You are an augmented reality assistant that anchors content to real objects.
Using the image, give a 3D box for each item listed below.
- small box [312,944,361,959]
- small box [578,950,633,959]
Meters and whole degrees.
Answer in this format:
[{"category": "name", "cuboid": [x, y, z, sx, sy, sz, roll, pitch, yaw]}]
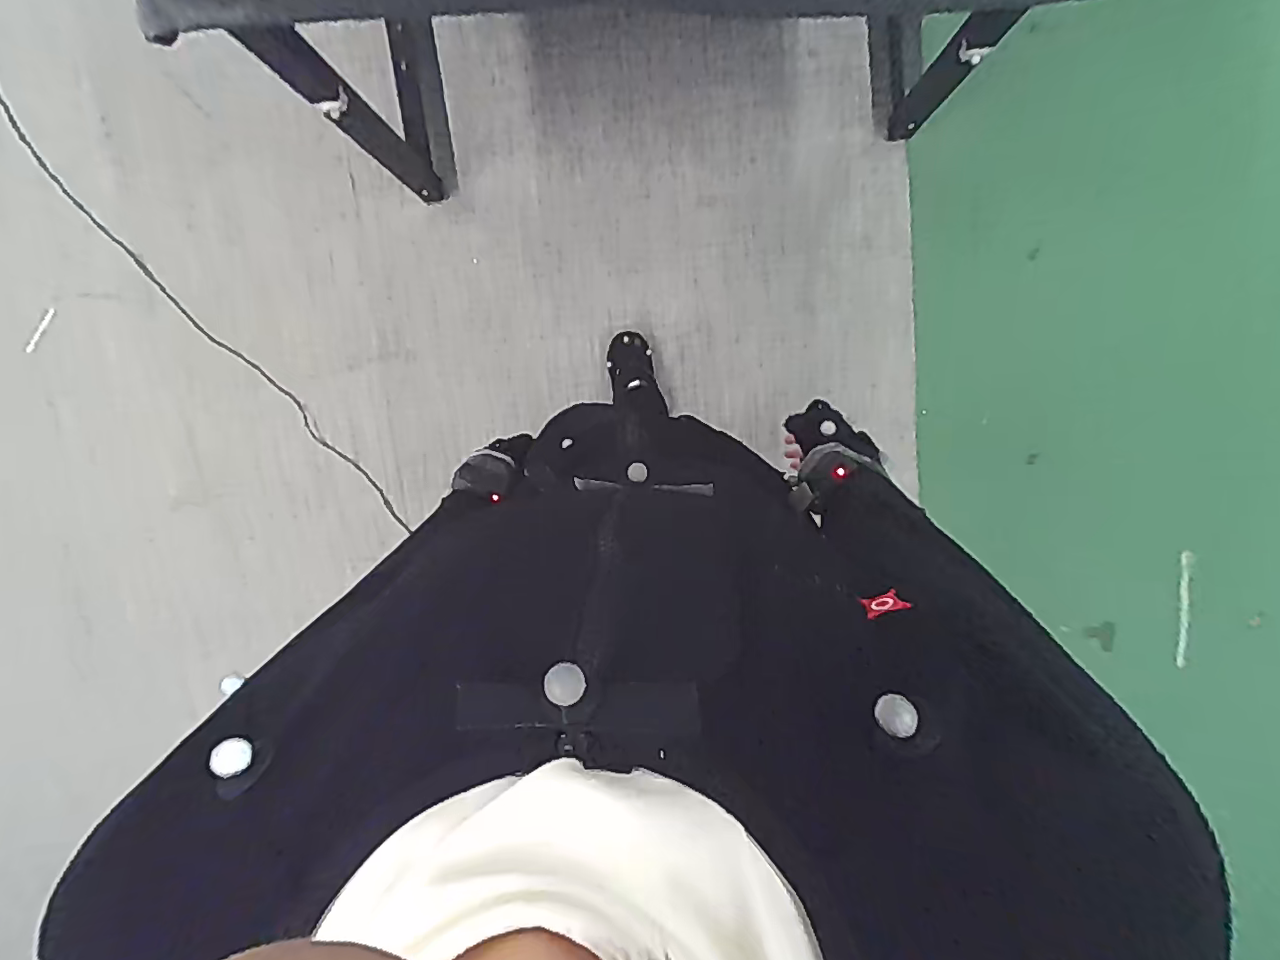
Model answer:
[{"category": "small box", "cuboid": [-0.724, 1.221, 1.219, 0.168, 0.176, 0.179, 26, 96, -2]}, {"category": "small box", "cuboid": [-0.103, 1.468, 1.513, 0.168, 0.176, 0.179, 2, 99, 2]}]
